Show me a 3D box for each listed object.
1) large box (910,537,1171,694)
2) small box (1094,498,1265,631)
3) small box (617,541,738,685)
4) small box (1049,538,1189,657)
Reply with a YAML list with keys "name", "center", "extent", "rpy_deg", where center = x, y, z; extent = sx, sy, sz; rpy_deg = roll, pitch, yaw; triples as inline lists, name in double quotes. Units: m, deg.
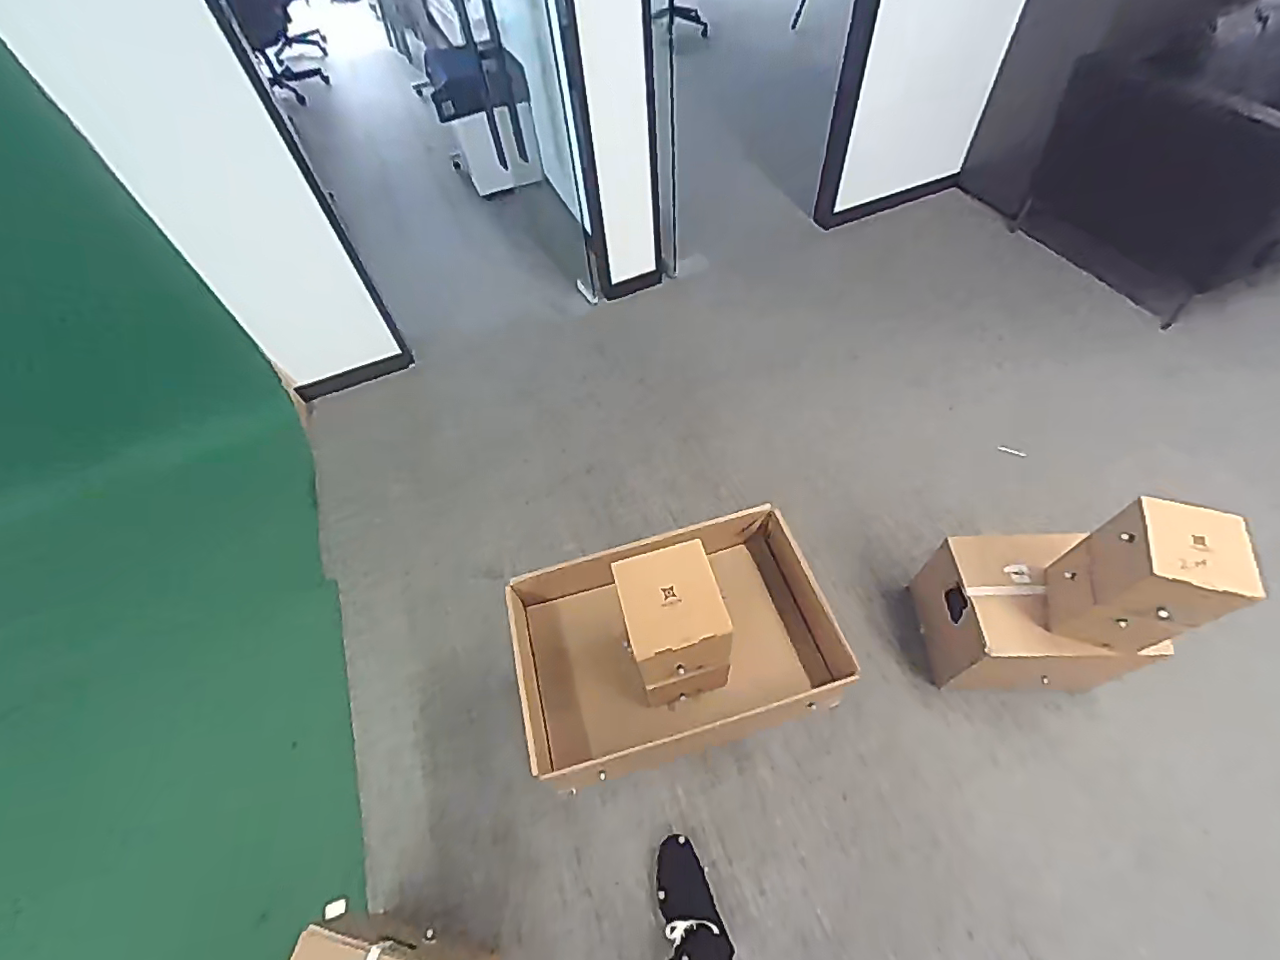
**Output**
- name: "large box"
  center: [0.999, 0.364, 1.418]
  extent: [0.408, 0.320, 0.320]
  rpy_deg: [-2, 54, 4]
- name: "small box"
  center: [1.026, 0.166, 1.051]
  extent: [0.168, 0.176, 0.179]
  rpy_deg: [14, 59, 15]
- name: "small box"
  center: [0.062, 0.238, 0.957]
  extent: [0.168, 0.176, 0.179]
  rpy_deg: [-15, 56, -5]
- name: "small box"
  center: [1.034, 0.260, 1.187]
  extent: [0.168, 0.176, 0.179]
  rpy_deg: [15, 58, 15]
